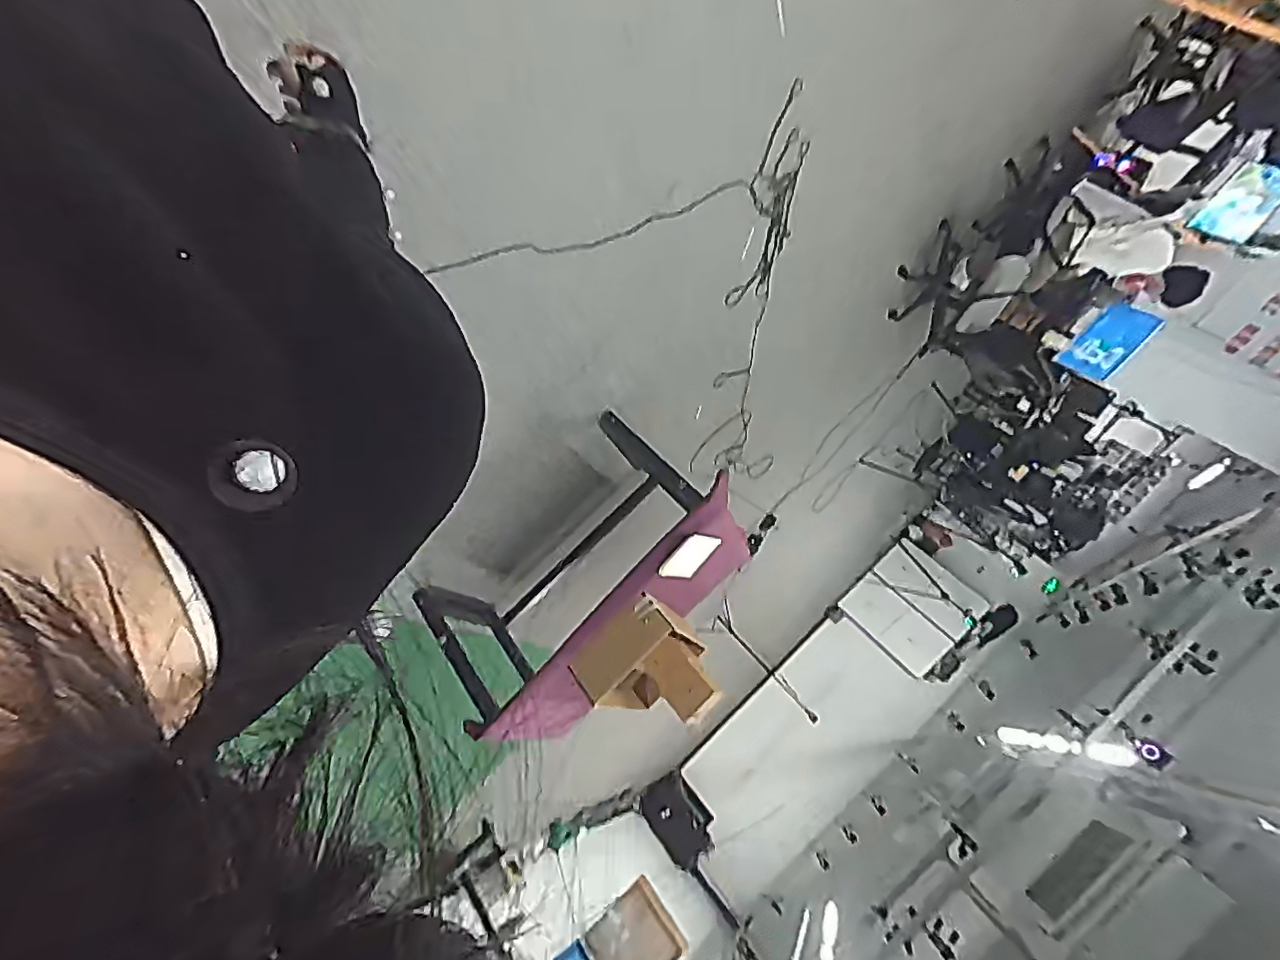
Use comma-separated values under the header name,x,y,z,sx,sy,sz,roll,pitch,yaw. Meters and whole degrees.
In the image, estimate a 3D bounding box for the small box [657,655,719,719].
name,x,y,z,sx,sy,sz,roll,pitch,yaw
small box,0.189,0.847,2.207,0.179,0.176,0.168,-46,150,-1
